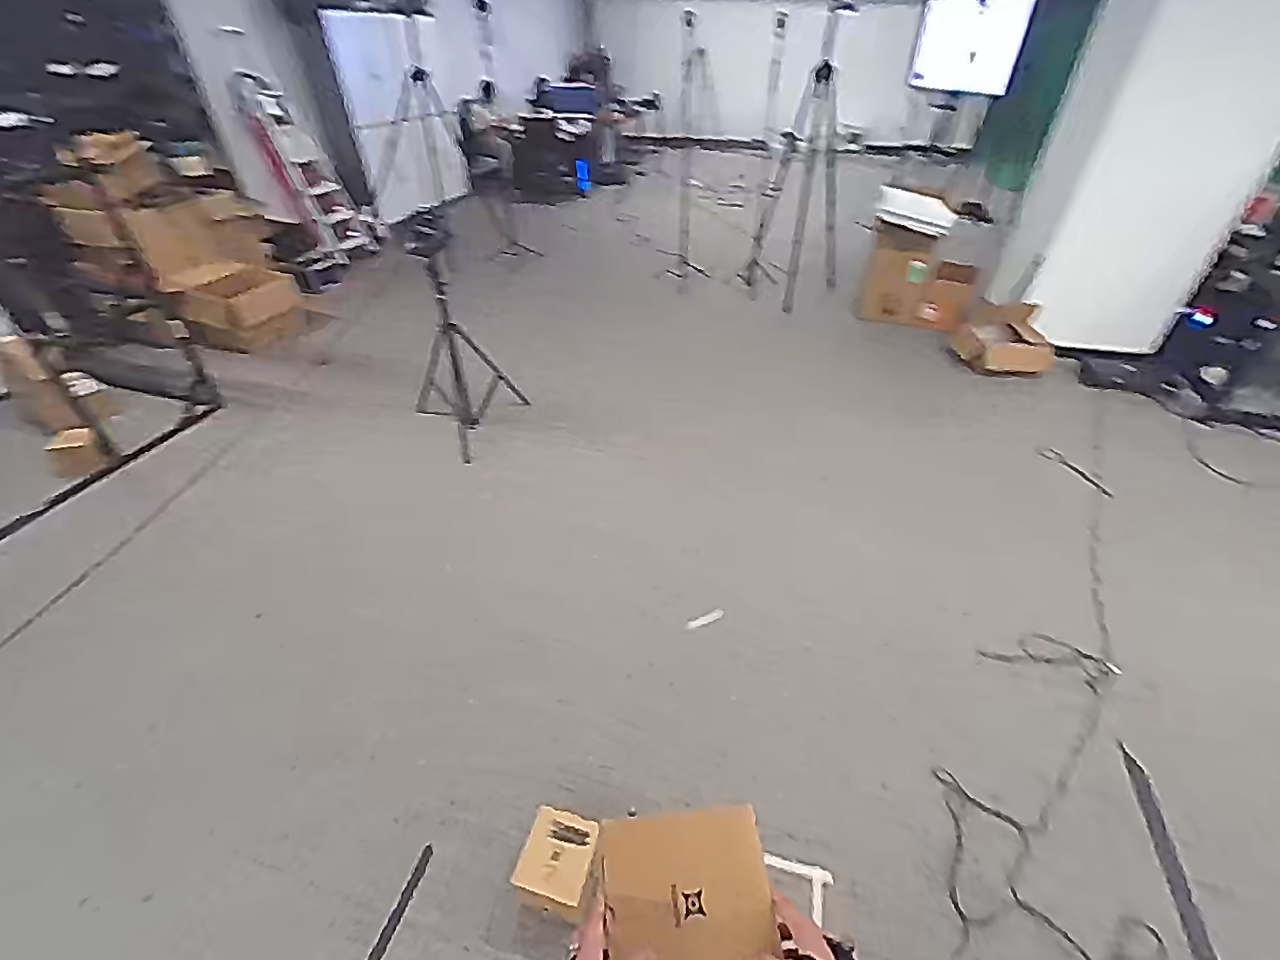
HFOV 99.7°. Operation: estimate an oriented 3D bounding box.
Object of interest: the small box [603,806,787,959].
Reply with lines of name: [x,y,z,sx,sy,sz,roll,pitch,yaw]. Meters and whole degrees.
small box: [0.049,0.482,0.615,0.179,0.176,0.168,-3,52,-6]
